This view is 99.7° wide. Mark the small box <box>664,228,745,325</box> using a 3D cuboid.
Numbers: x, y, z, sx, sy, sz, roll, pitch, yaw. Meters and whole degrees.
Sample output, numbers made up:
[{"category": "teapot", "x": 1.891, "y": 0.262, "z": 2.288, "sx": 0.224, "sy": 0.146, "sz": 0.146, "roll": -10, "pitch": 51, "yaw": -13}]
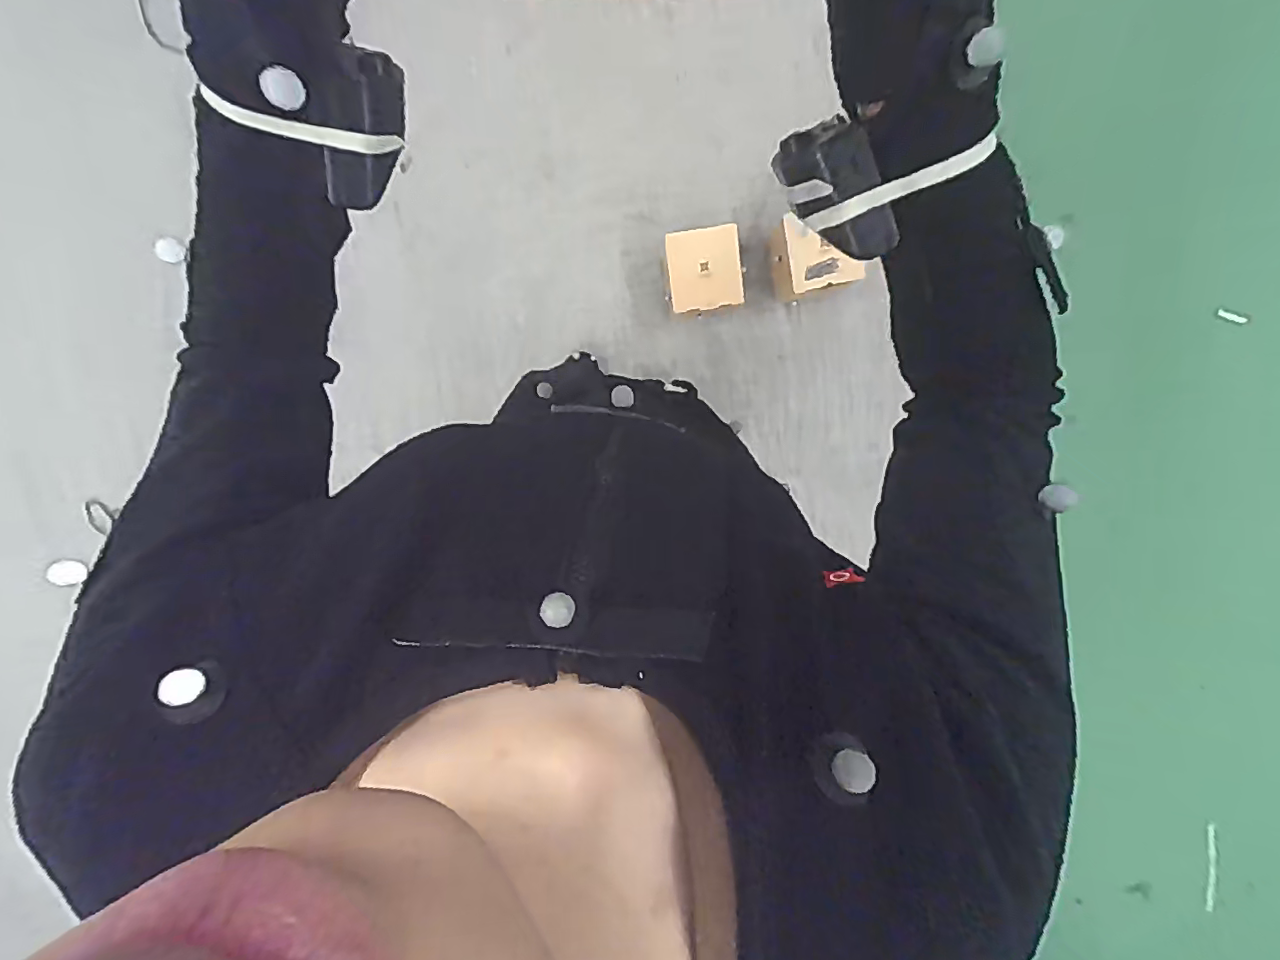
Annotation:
[{"category": "small box", "x": 0.149, "y": -0.481, "z": 1.301, "sx": 0.168, "sy": 0.176, "sz": 0.179, "roll": -8, "pitch": 100, "yaw": 3}]

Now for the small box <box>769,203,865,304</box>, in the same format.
[{"category": "small box", "x": 0.414, "y": -0.525, "z": 1.283, "sx": 0.168, "sy": 0.176, "sz": 0.179, "roll": -11, "pitch": 99, "yaw": 4}]
